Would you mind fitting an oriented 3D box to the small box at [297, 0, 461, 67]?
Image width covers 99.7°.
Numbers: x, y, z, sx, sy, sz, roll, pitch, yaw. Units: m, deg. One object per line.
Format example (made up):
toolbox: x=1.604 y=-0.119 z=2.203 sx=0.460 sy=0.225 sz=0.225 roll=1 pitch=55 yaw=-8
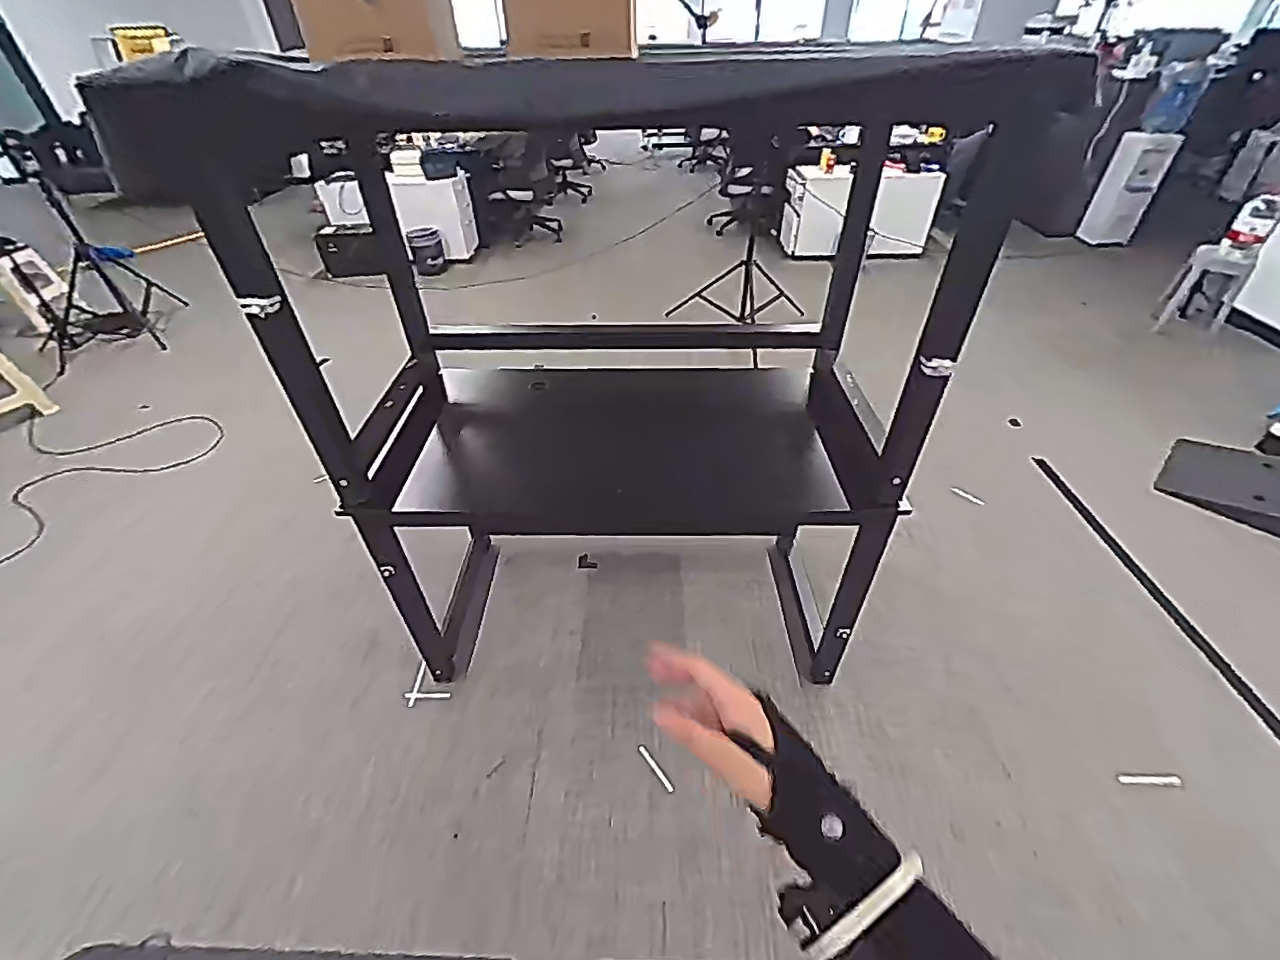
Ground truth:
small box: x=-0.349 y=-0.659 z=0.719 sx=0.168 sy=0.176 sz=0.179 roll=-2 pitch=39 yaw=-3
